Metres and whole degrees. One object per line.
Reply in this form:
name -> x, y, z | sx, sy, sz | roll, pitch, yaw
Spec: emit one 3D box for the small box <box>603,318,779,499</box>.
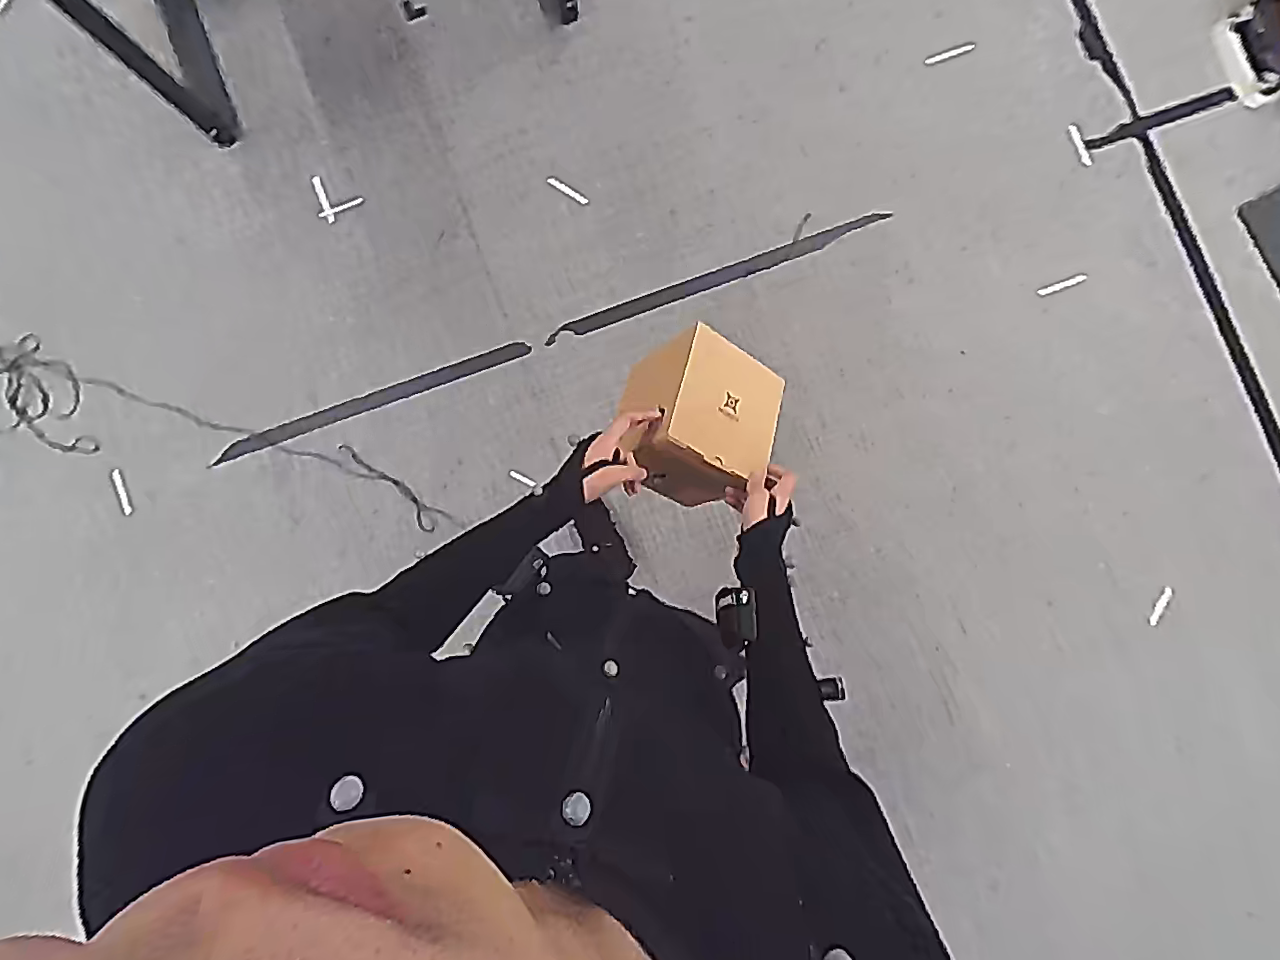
small box -> 0.068, -0.088, 0.767 | 0.168, 0.176, 0.179 | 26, 68, -27
